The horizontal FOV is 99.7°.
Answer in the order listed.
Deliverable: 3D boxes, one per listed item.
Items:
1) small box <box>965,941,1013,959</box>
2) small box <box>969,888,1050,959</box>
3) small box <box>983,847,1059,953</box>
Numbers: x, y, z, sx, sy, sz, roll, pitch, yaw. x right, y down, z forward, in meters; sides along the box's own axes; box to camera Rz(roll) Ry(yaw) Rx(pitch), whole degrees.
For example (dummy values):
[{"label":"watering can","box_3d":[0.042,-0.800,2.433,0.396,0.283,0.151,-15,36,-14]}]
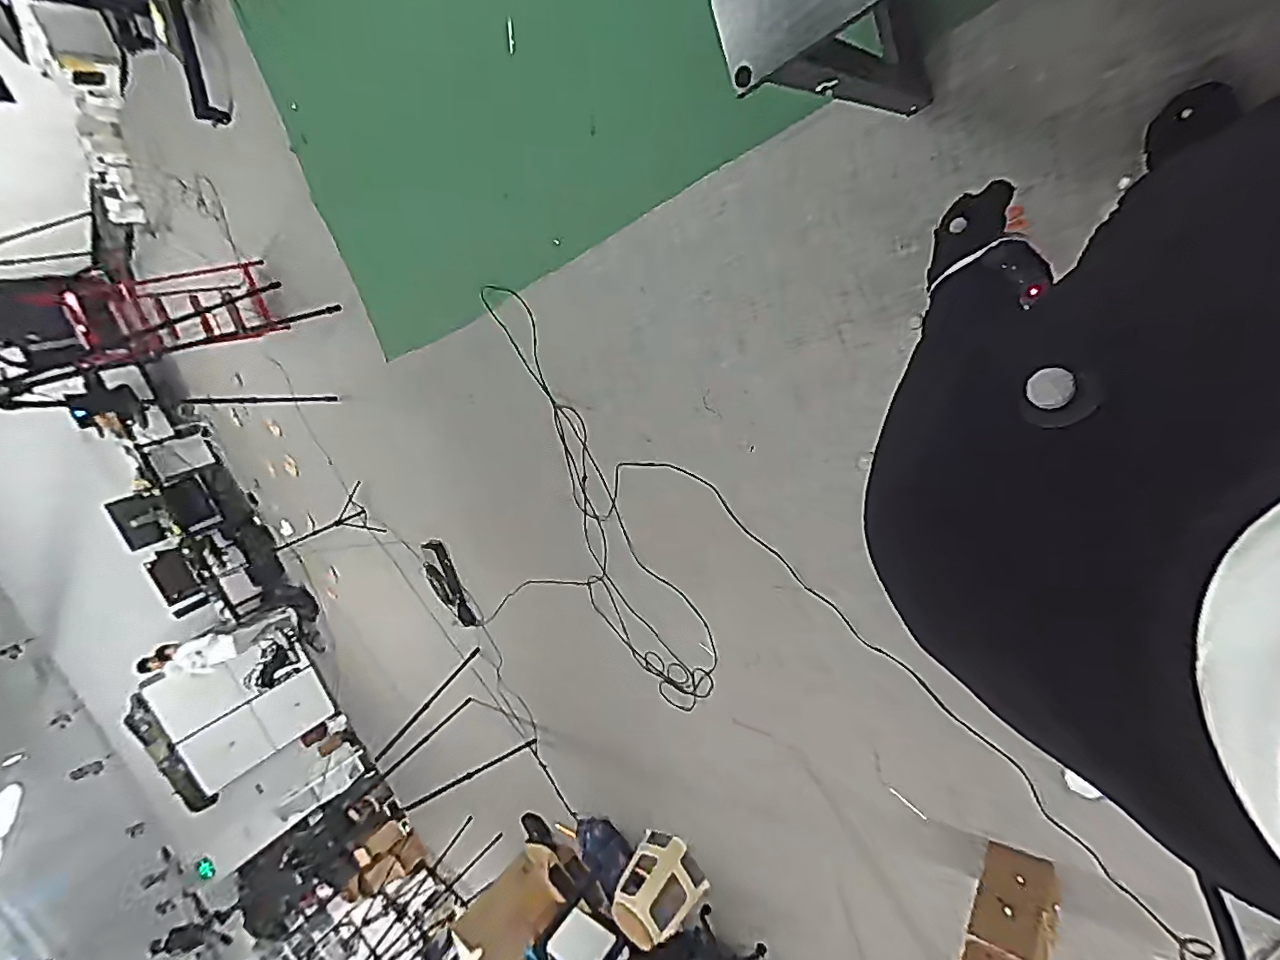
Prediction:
[{"label":"small box","box_3d":[0.989,1.436,1.479,0.168,0.176,0.179,-3,110,44]},{"label":"small box","box_3d":[1.088,1.366,1.587,0.168,0.176,0.179,-3,110,44]},{"label":"small box","box_3d":[1.197,1.303,1.694,0.179,0.176,0.168,-4,109,44]}]
